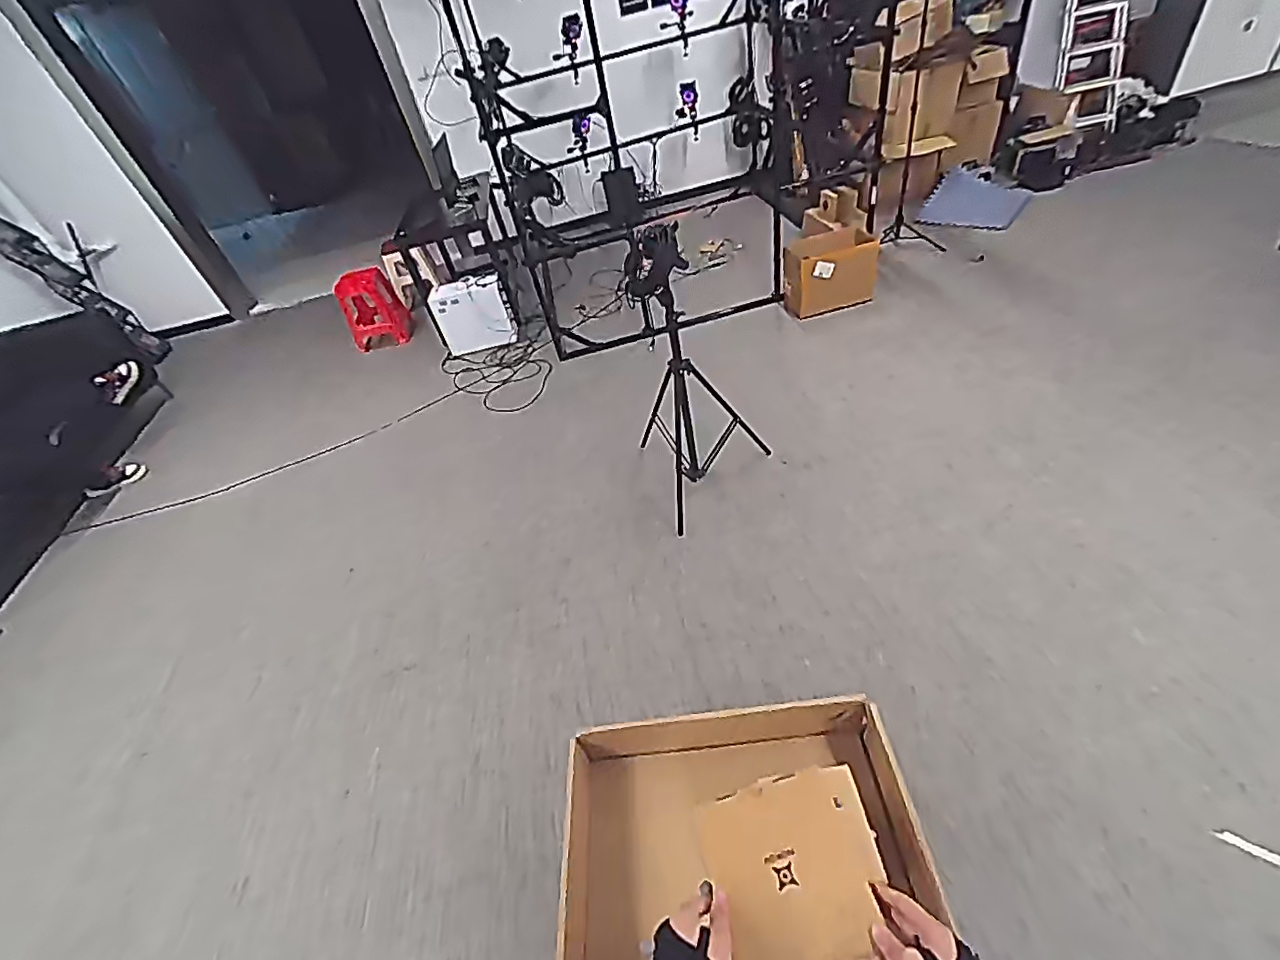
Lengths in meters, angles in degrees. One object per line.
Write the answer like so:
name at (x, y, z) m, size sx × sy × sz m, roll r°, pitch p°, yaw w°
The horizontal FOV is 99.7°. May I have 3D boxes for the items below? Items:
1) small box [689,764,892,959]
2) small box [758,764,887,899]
small box at (0.172, 0.474, 0.649) m, size 0.168 × 0.176 × 0.179 m, roll -19°, pitch 49°, yaw -1°
small box at (0.309, 0.629, 0.944) m, size 0.168 × 0.176 × 0.179 m, roll -11°, pitch 41°, yaw 4°
